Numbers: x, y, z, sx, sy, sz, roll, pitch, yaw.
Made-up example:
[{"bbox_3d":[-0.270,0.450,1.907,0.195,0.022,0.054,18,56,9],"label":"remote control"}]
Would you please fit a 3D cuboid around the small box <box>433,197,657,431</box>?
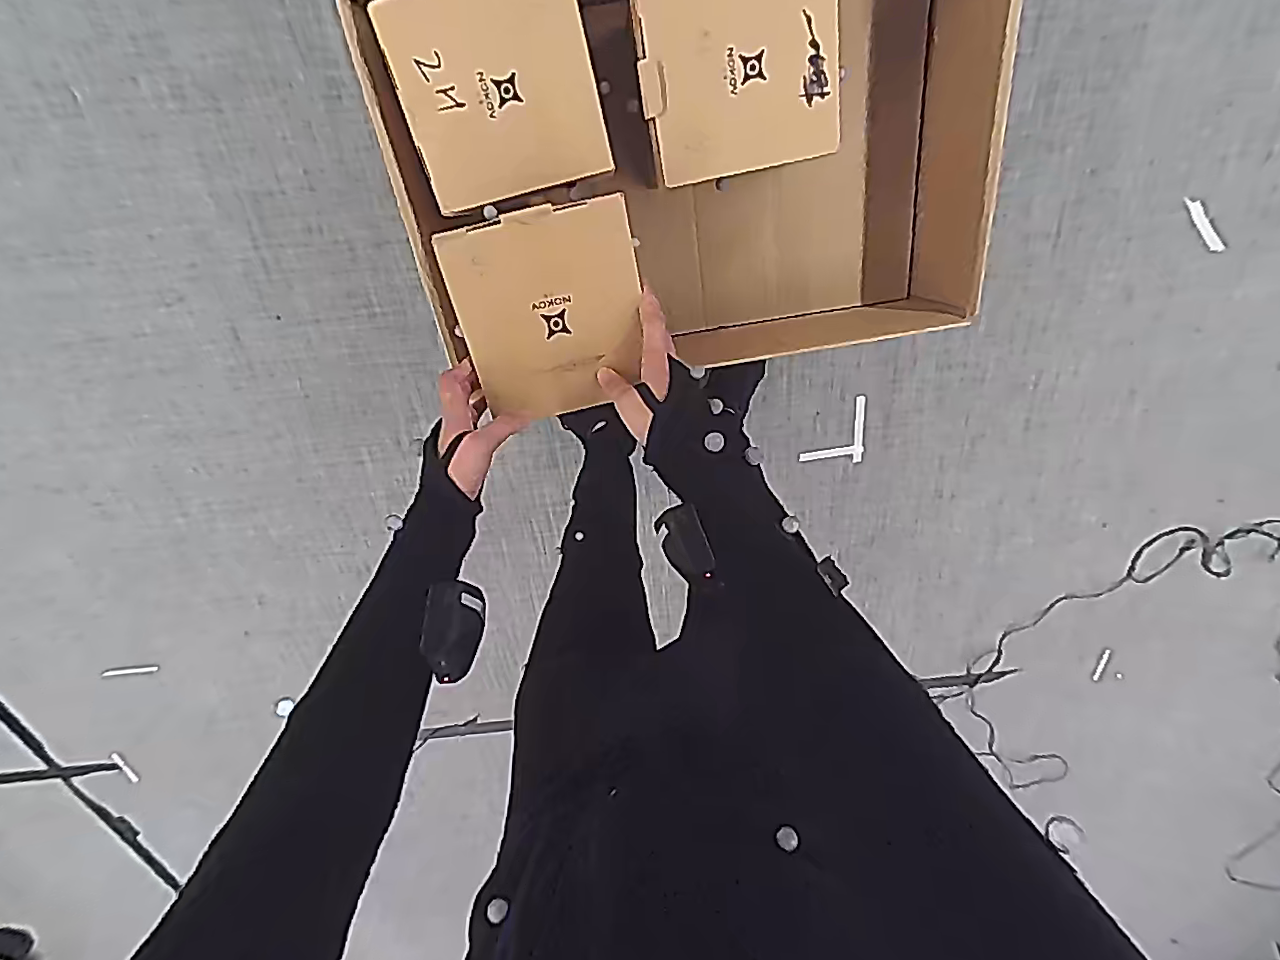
[{"bbox_3d":[-0.089,-0.173,0.555,0.168,0.176,0.179,-14,115,-2],"label":"small box"}]
